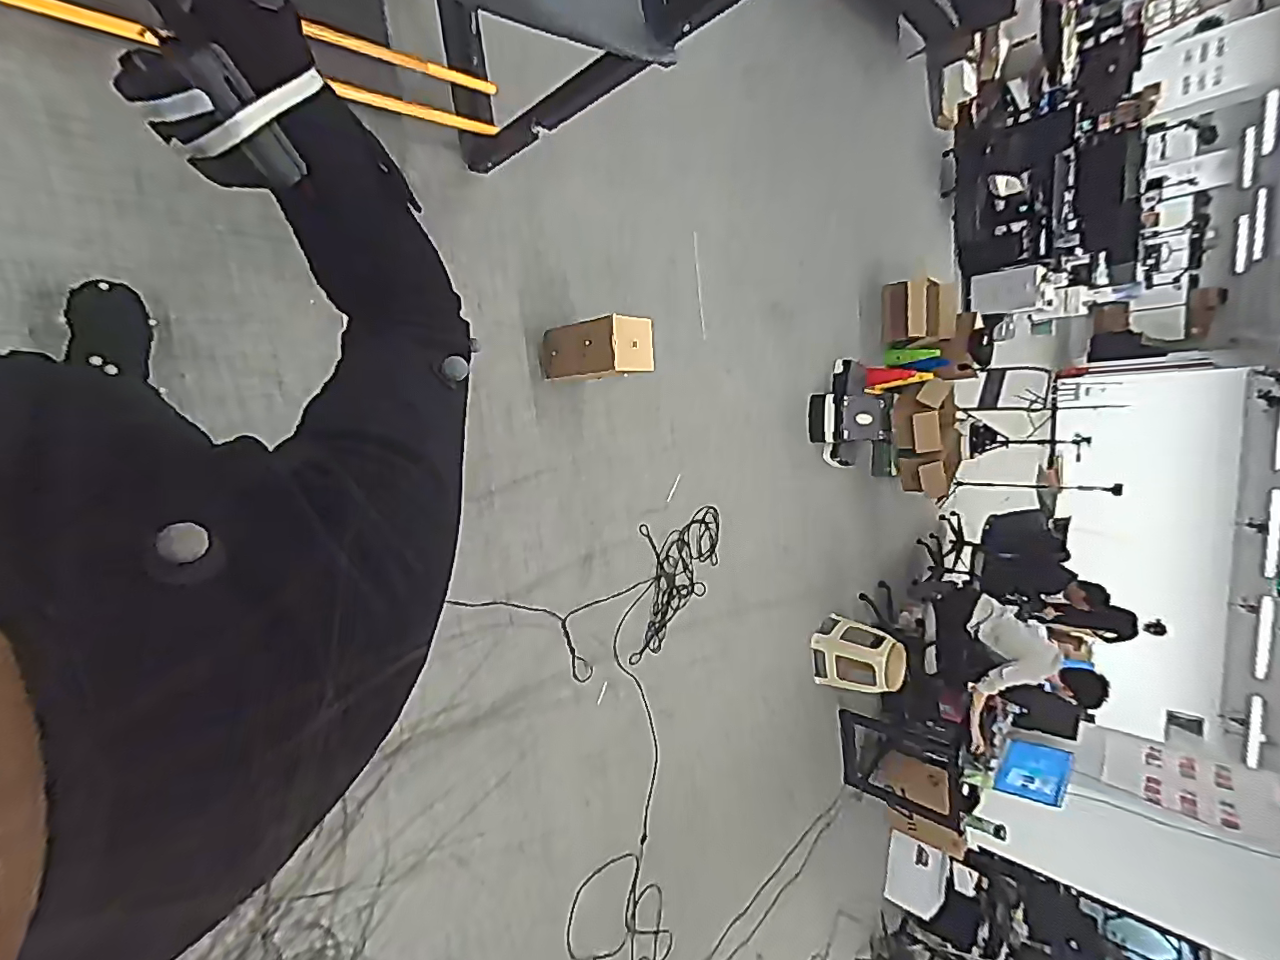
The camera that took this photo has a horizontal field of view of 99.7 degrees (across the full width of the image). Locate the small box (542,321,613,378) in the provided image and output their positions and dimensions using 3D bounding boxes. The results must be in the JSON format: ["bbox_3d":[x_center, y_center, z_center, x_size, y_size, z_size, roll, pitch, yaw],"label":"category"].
[{"bbox_3d":[-0.212,-0.439,1.844,0.179,0.176,0.168,-9,98,-46],"label":"small box"}]
